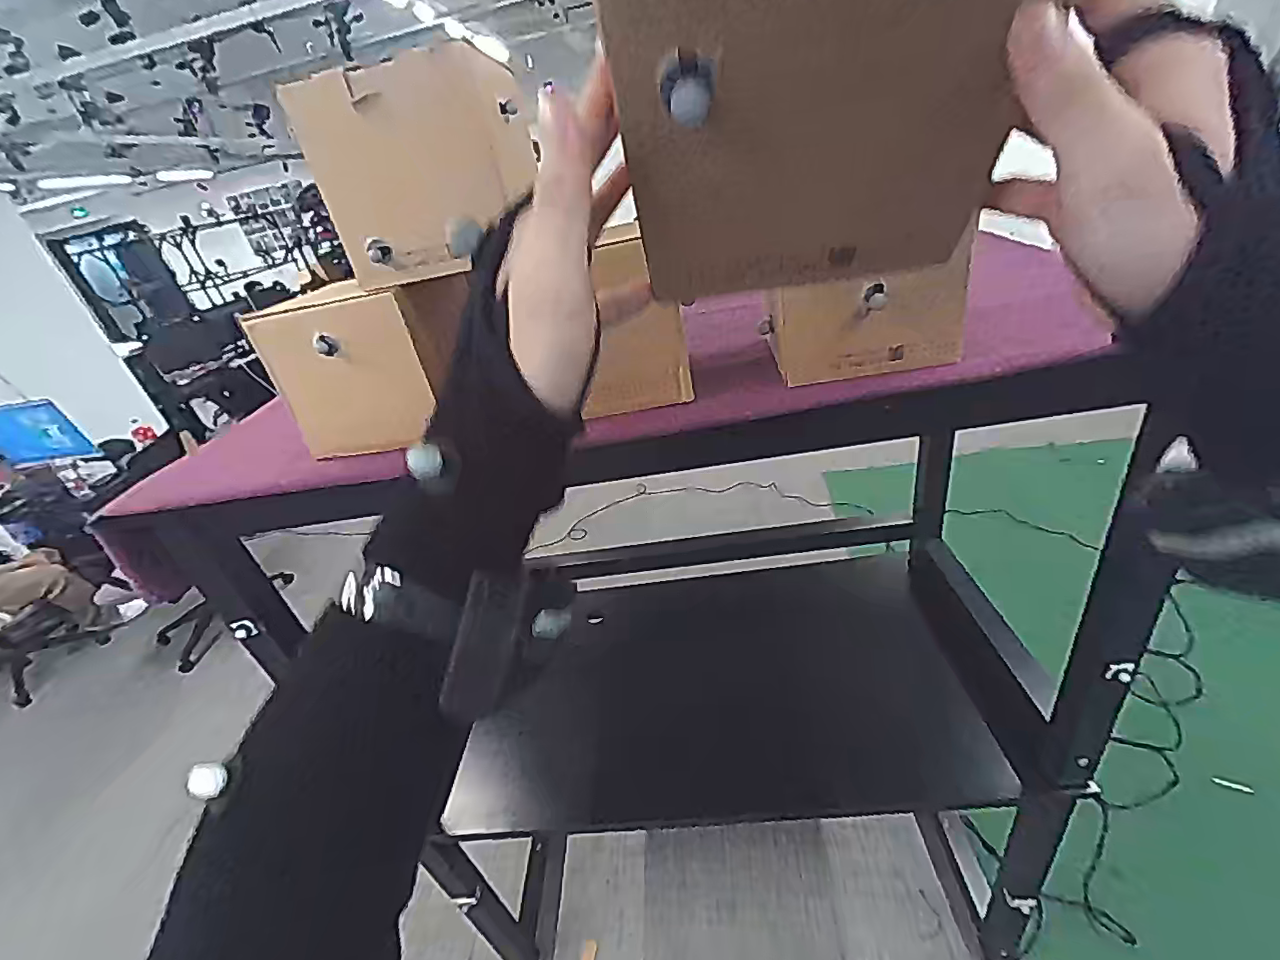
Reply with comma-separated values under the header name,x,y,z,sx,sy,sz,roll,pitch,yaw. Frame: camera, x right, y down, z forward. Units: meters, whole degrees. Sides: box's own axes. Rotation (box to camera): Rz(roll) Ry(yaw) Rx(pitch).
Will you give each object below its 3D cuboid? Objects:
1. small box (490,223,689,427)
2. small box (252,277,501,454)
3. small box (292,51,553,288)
name,x,y,z,sx,sy,sz,roll,pitch,yaw
small box,-0.040,-0.176,0.610,0.179,0.176,0.168,-9,29,7
small box,-0.292,-0.140,0.644,0.179,0.176,0.168,-5,30,11
small box,-0.199,-0.305,0.559,0.168,0.176,0.179,-8,28,7
